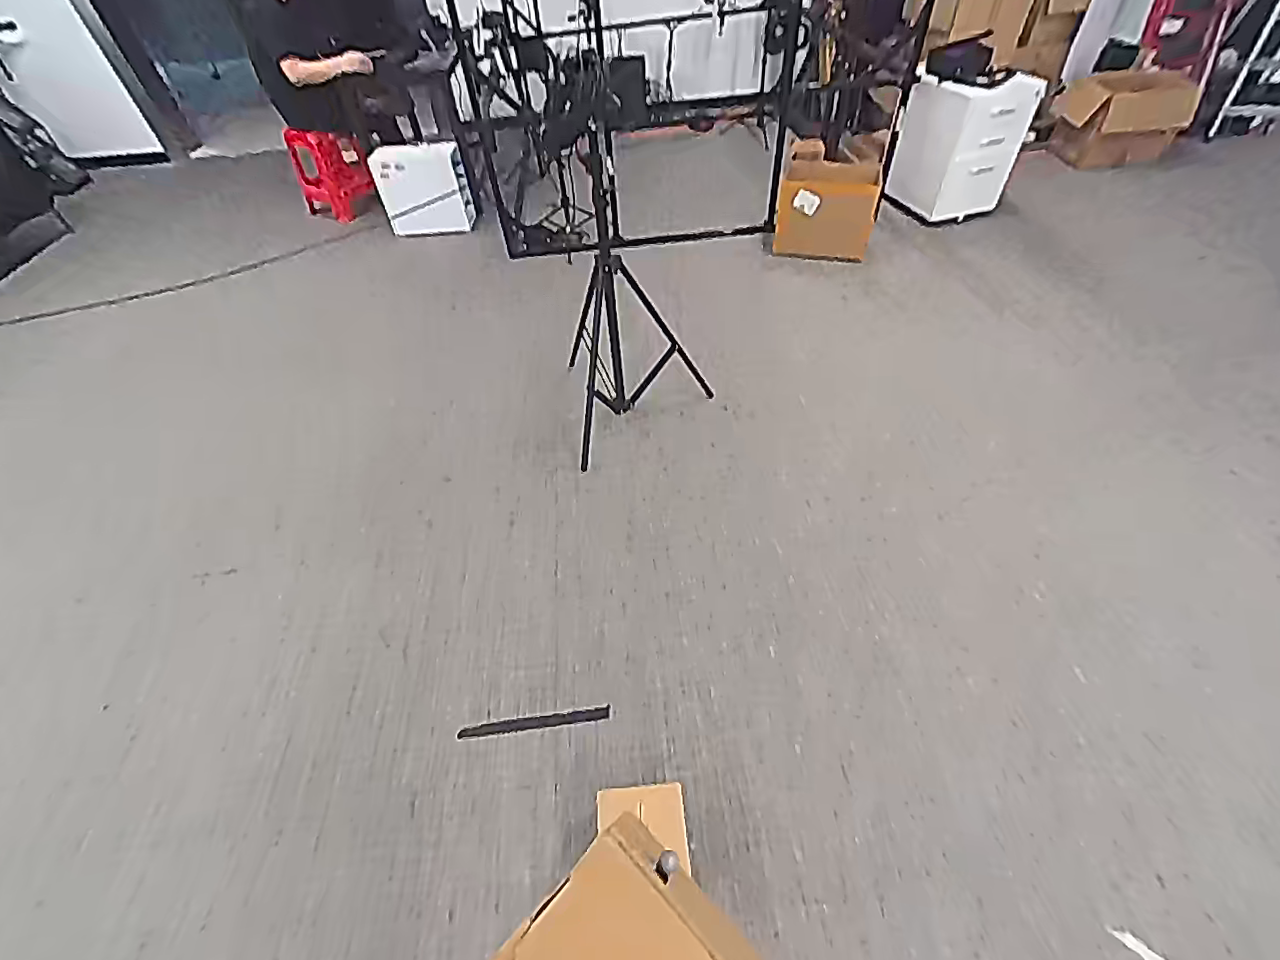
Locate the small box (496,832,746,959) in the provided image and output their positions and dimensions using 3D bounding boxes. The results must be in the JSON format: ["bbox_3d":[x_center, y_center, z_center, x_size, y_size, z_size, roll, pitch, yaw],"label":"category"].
[{"bbox_3d":[-0.014,0.344,0.319,0.179,0.176,0.168,38,70,21],"label":"small box"}]

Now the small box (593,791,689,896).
[{"bbox_3d":[0.003,0.718,1.032,0.168,0.176,0.179,-6,47,-1],"label":"small box"}]
